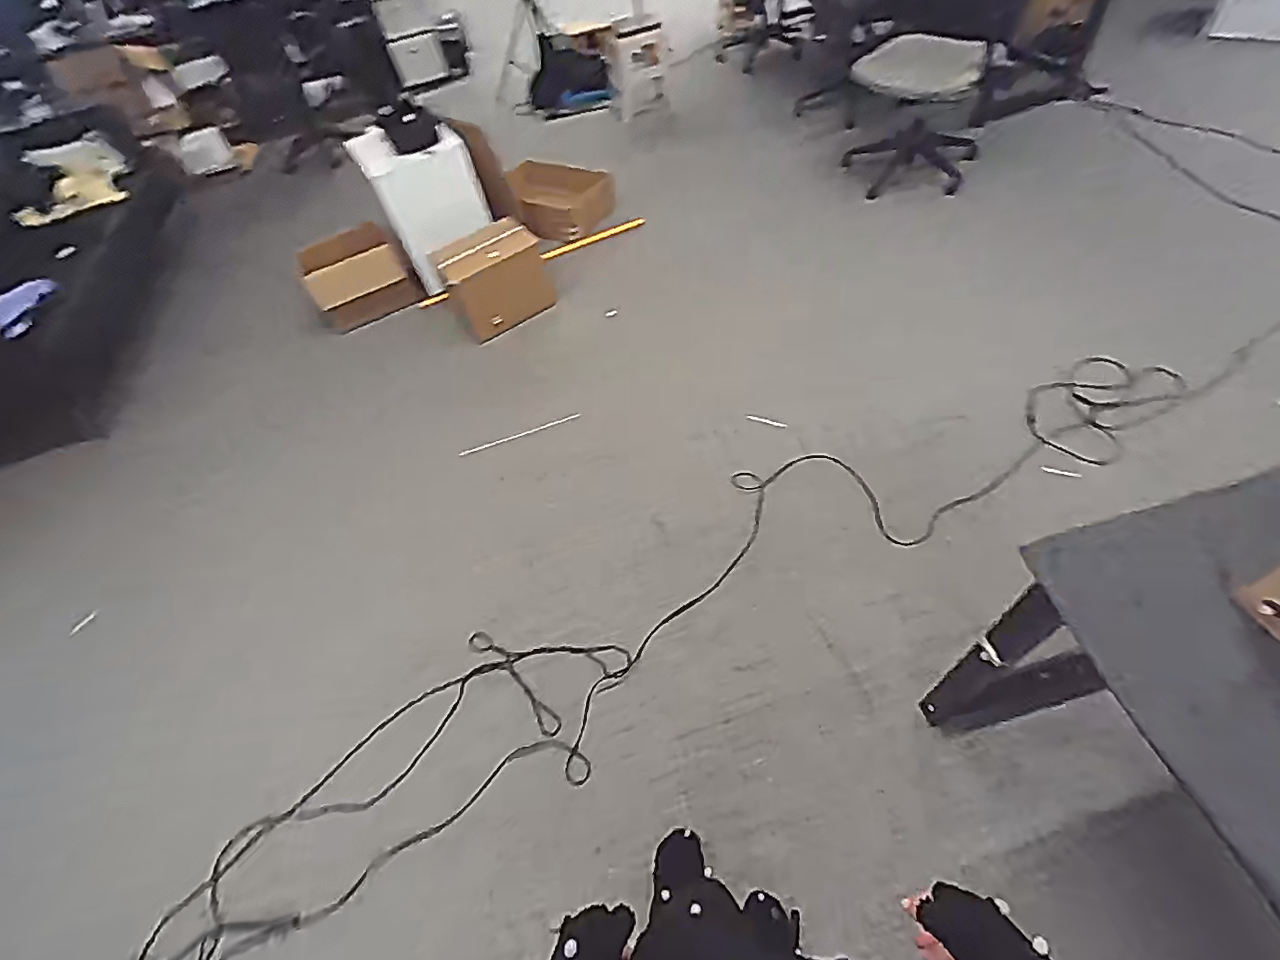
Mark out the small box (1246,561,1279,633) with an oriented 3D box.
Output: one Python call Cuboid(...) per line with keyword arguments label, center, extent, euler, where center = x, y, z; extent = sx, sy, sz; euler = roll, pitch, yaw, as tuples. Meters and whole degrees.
Cuboid(label="small box", center=(0.824, 0.125, 0.568), extent=(0.179, 0.176, 0.168), euler=(-19, 53, -5))
